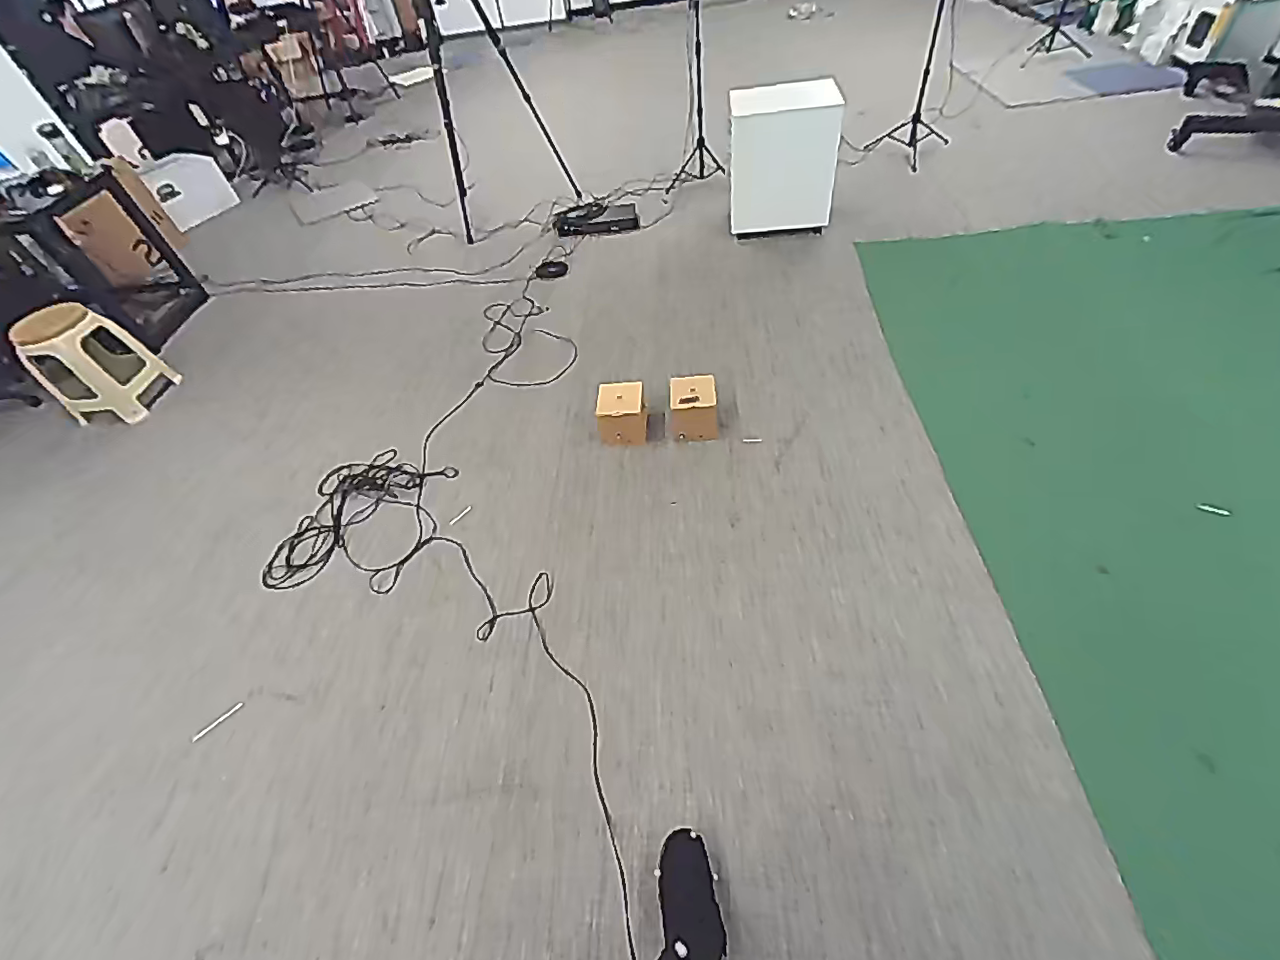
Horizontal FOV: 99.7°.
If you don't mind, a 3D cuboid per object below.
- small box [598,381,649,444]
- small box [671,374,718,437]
[{"bbox_3d":[-0.057,-0.257,2.067,0.168,0.176,0.179,-3,50,7],"label":"small box"},{"bbox_3d":[0.207,-0.274,2.036,0.168,0.176,0.179,-3,49,7],"label":"small box"}]
